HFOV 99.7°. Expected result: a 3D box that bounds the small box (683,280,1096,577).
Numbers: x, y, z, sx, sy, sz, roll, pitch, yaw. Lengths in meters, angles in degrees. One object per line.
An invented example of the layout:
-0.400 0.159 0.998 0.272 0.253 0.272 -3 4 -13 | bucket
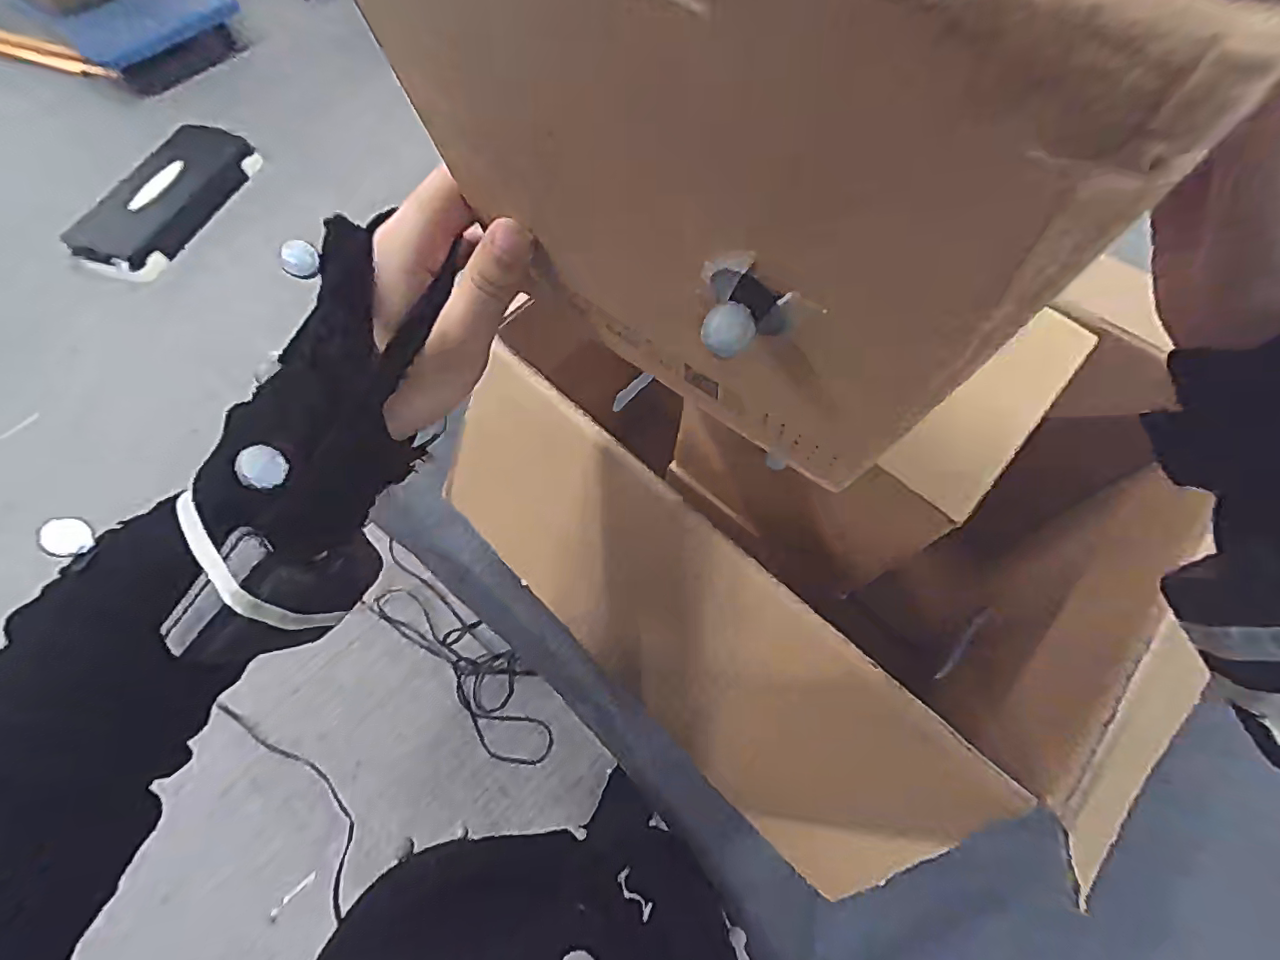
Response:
0.149 -0.050 0.387 0.179 0.176 0.168 41 71 18 | small box

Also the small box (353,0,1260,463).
0.046 -0.129 0.150 0.168 0.176 0.179 35 81 12 | small box
